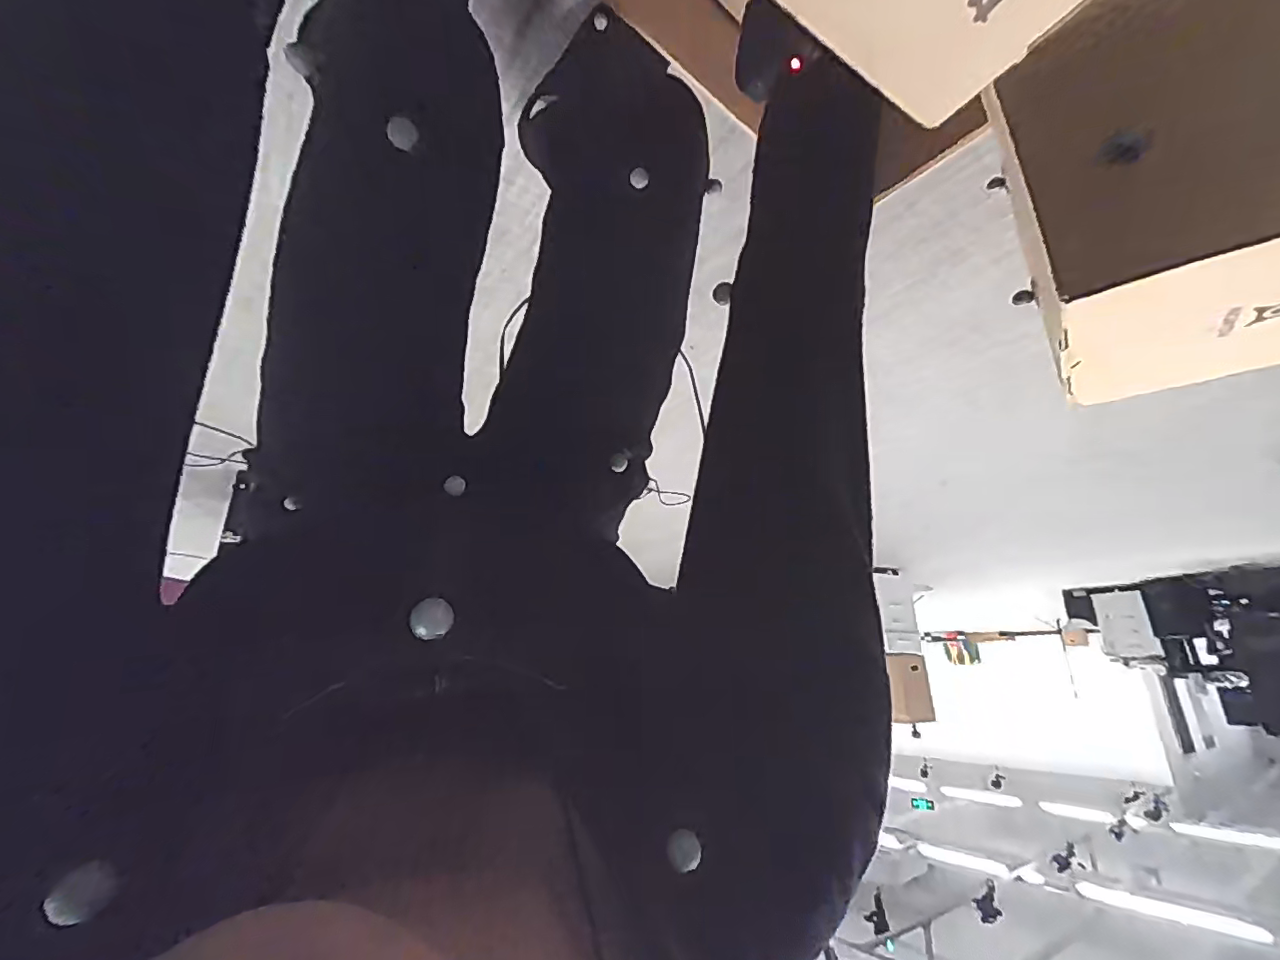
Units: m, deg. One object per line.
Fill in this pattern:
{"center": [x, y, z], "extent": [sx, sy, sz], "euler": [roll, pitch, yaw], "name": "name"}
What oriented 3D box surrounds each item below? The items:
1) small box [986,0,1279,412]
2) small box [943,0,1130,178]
{"center": [0.321, -0.164, 0.318], "extent": [0.179, 0.176, 0.168], "euler": [-14, 158, 35], "name": "small box"}
{"center": [0.319, -0.318, 0.372], "extent": [0.168, 0.176, 0.179], "euler": [-14, 156, 37], "name": "small box"}
